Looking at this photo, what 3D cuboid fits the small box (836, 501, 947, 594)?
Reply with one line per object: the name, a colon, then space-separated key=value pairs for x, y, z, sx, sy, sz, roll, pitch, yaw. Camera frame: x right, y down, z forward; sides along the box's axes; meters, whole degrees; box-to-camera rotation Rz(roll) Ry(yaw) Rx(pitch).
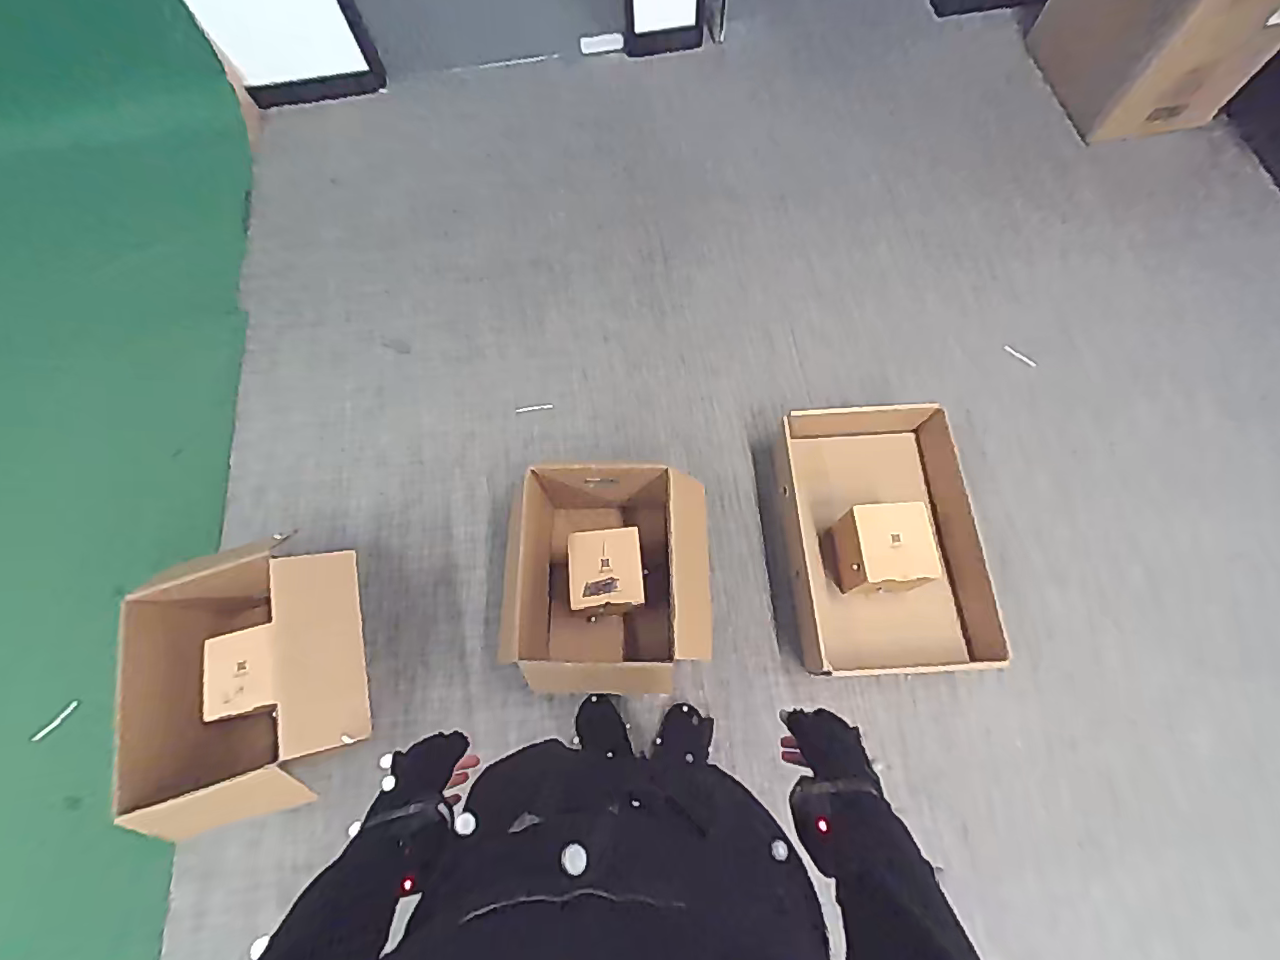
small box: x=0.573 y=0.161 z=1.257 sx=0.168 sy=0.176 sz=0.179 roll=-4 pitch=70 yaw=1
